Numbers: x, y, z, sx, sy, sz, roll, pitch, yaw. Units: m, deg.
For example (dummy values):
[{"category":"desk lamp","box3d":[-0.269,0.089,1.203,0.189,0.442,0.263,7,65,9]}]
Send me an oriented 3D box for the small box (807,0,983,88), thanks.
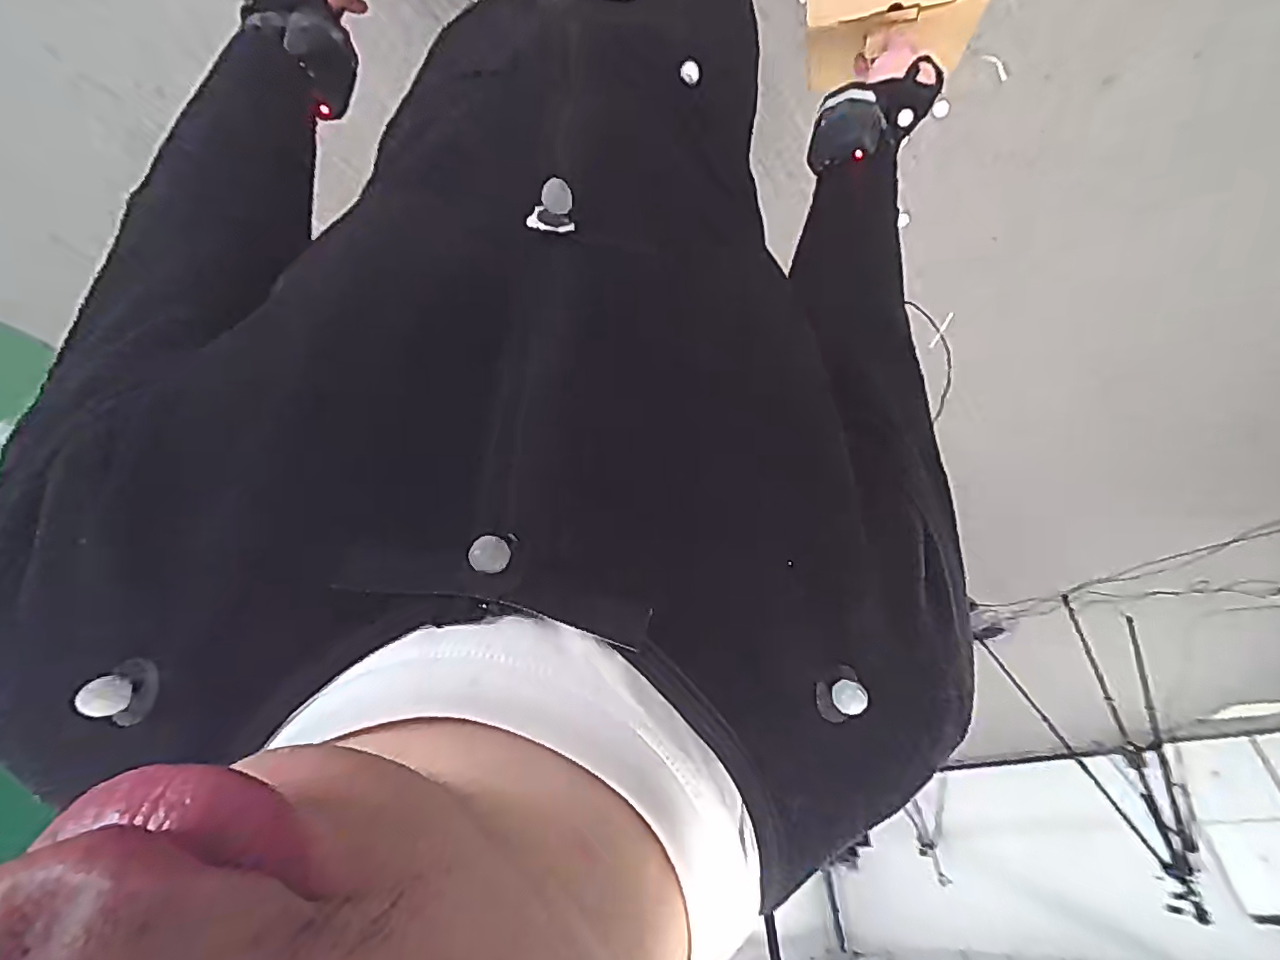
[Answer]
[{"category":"small box","box3d":[0.270,-0.551,0.573,0.168,0.176,0.179,2,105,20]}]
